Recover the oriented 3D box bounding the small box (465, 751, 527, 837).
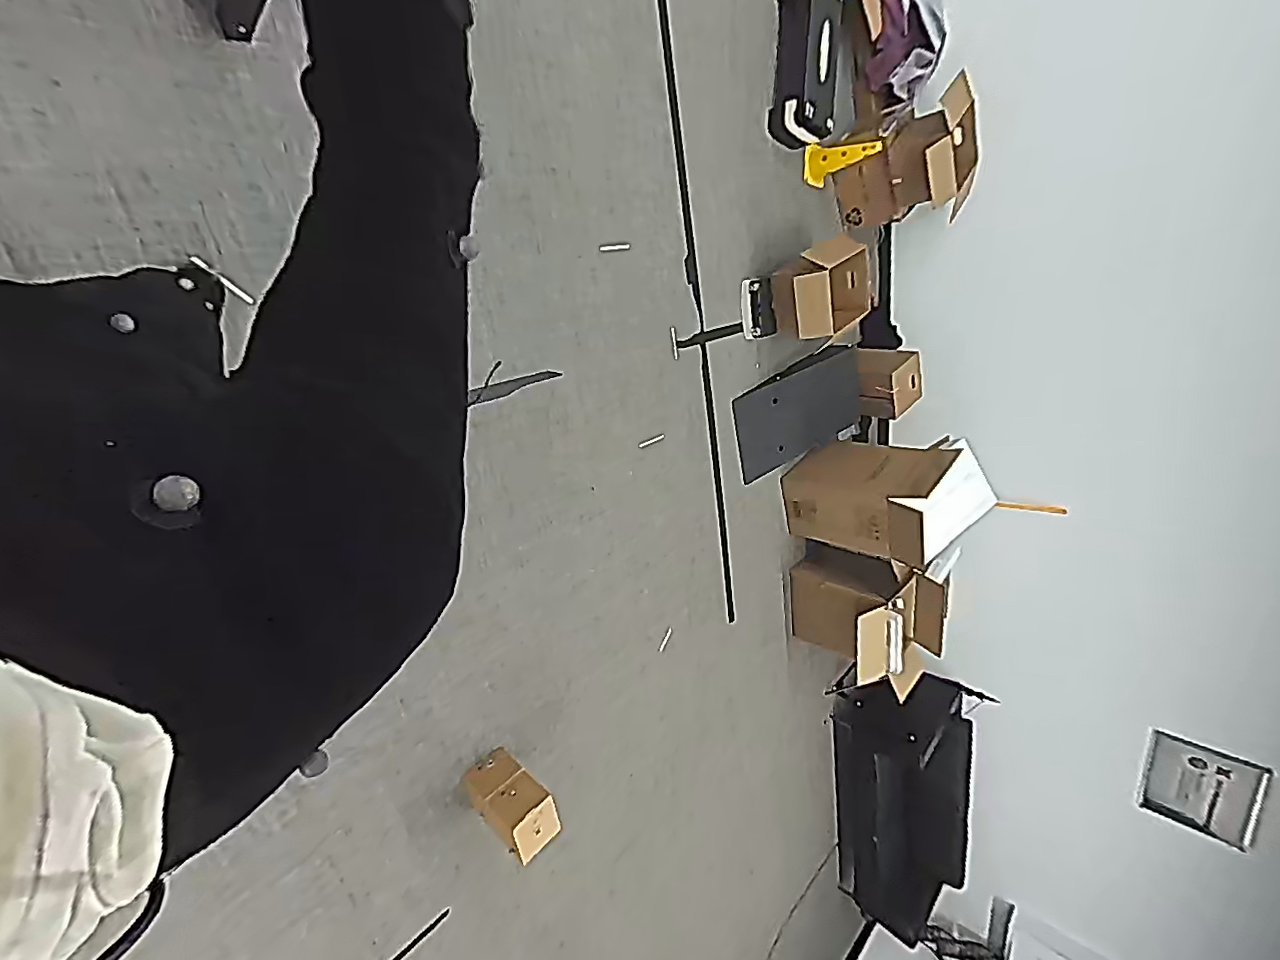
[{"bbox_3d":[-0.515,1.144,1.984,0.168,0.176,0.179,-28,117,-40],"label":"small box"}]

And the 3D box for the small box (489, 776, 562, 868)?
[{"bbox_3d":[-0.398,1.175,1.874,0.168,0.176,0.179,-28,117,-40],"label":"small box"}]
